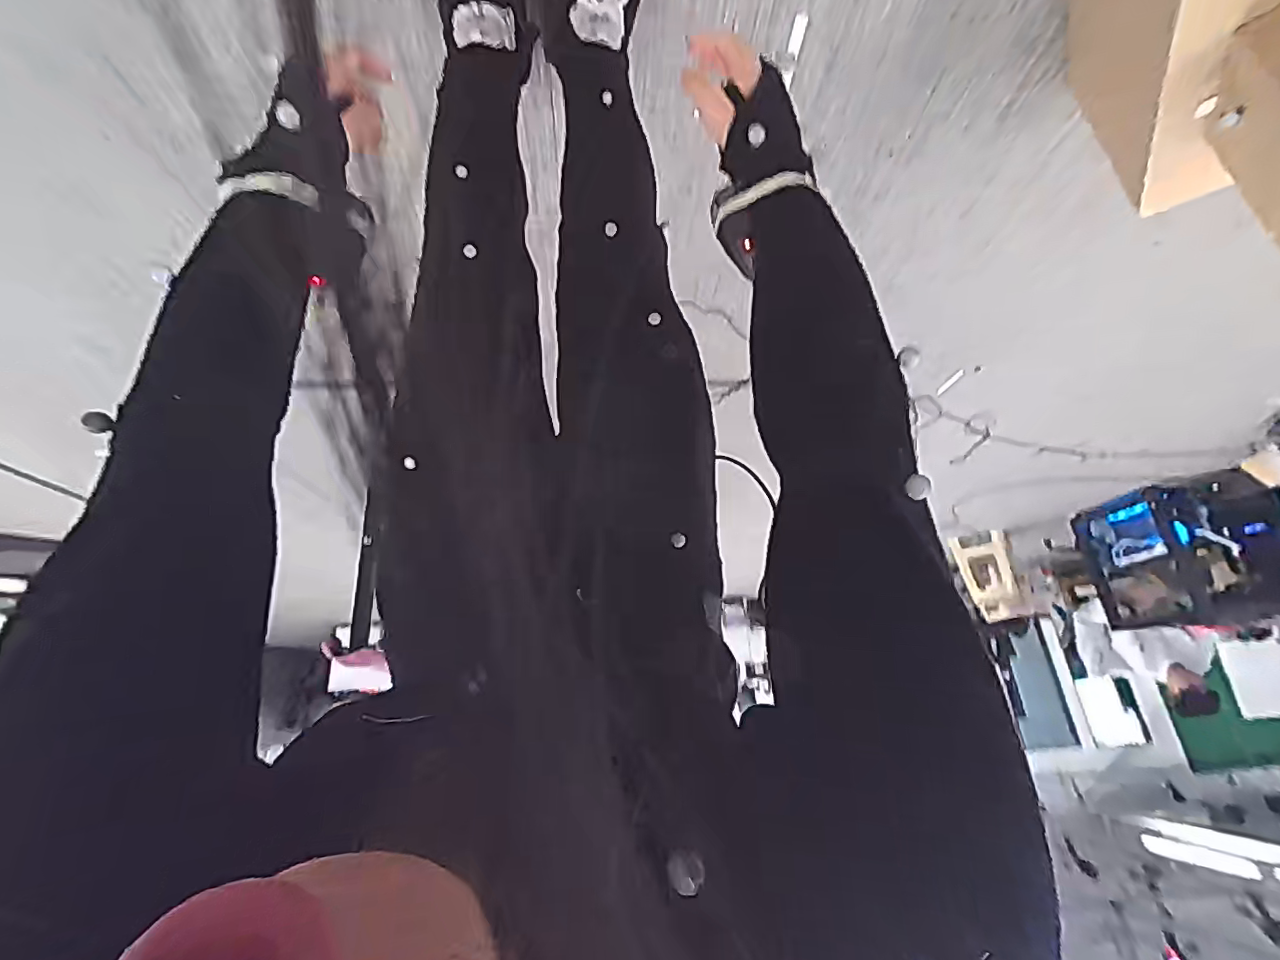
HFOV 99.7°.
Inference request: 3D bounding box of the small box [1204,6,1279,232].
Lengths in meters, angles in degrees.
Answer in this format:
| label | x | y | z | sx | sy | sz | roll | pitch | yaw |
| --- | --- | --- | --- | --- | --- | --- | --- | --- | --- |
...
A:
| label | x | y | z | sx | sy | sz | roll | pitch | yaw |
| --- | --- | --- | --- | --- | --- | --- | --- | --- | --- |
| small box | 0.760 | -0.414 | 0.566 | 0.179 | 0.176 | 0.168 | -19 | 154 | 32 |
